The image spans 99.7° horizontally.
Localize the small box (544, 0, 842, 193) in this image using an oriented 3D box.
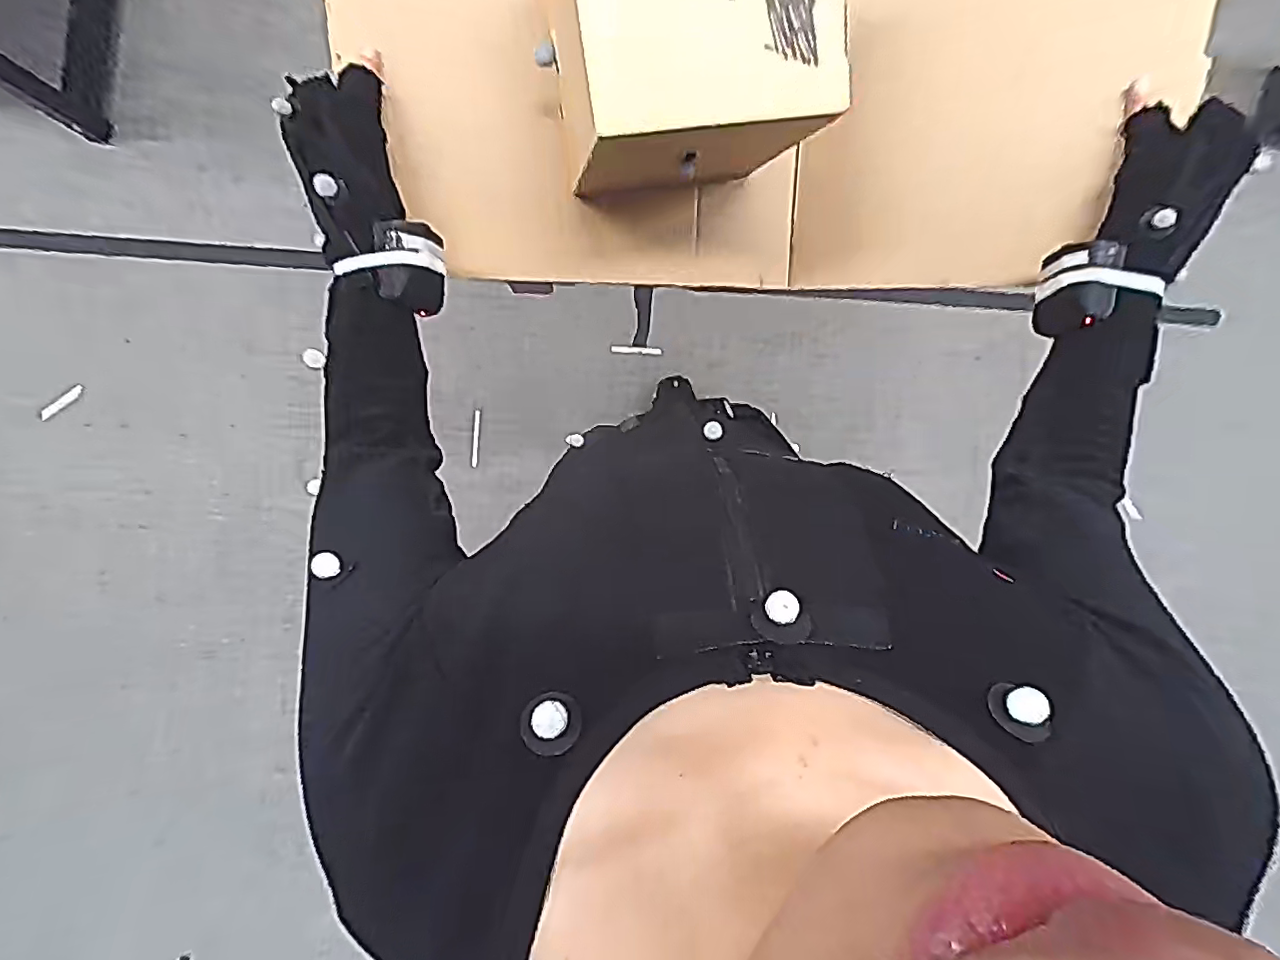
[{"bbox_3d":[0.029,-0.333,0.411,0.179,0.176,0.168,-11,108,-9],"label":"small box"}]
